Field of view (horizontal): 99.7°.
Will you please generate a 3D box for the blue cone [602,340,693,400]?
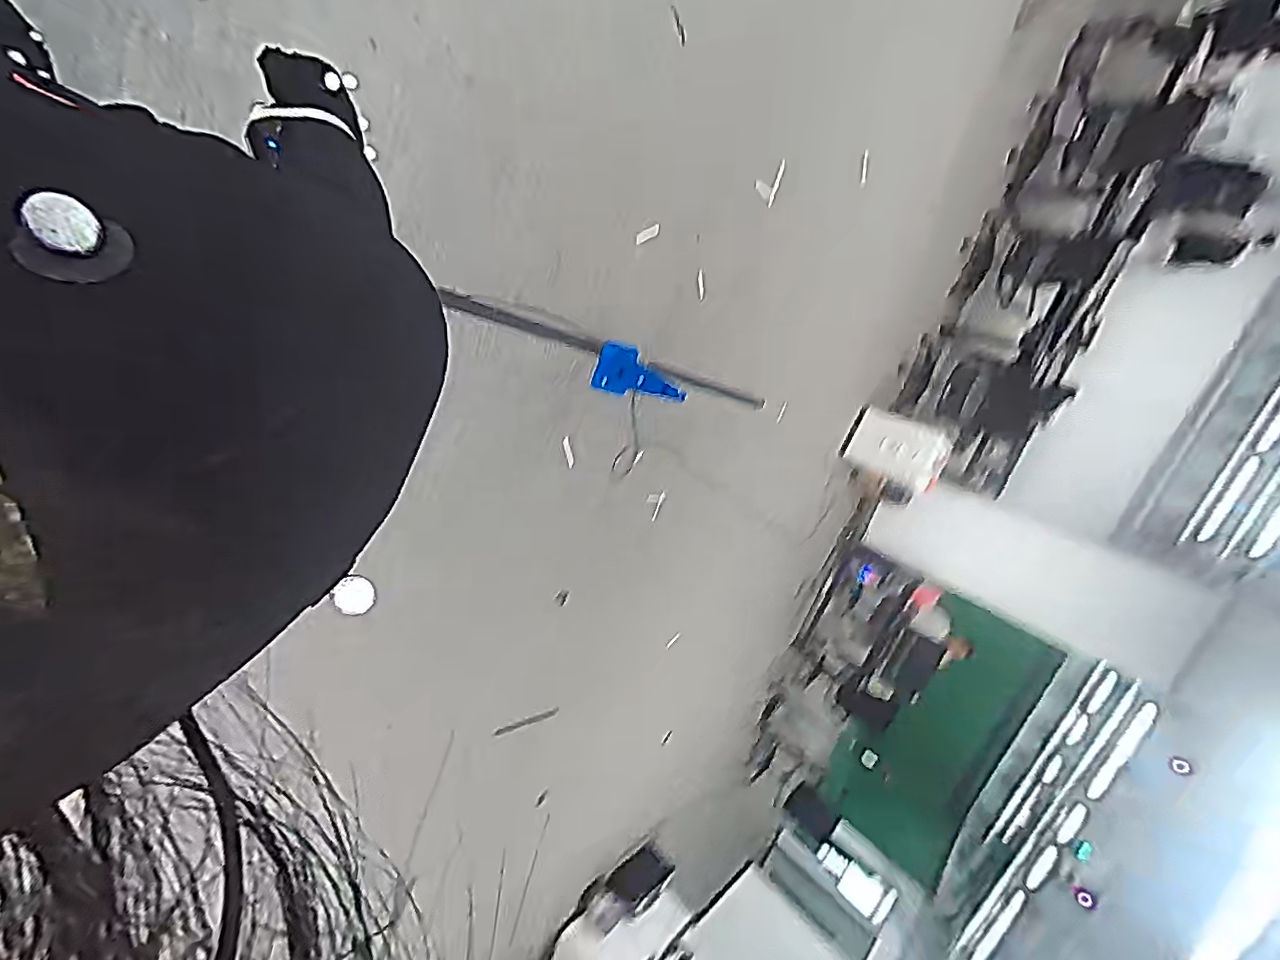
[{"bbox_3d":[0.051,-0.374,2.011,0.192,0.380,0.193,0,115,-50],"label":"blue cone"}]
